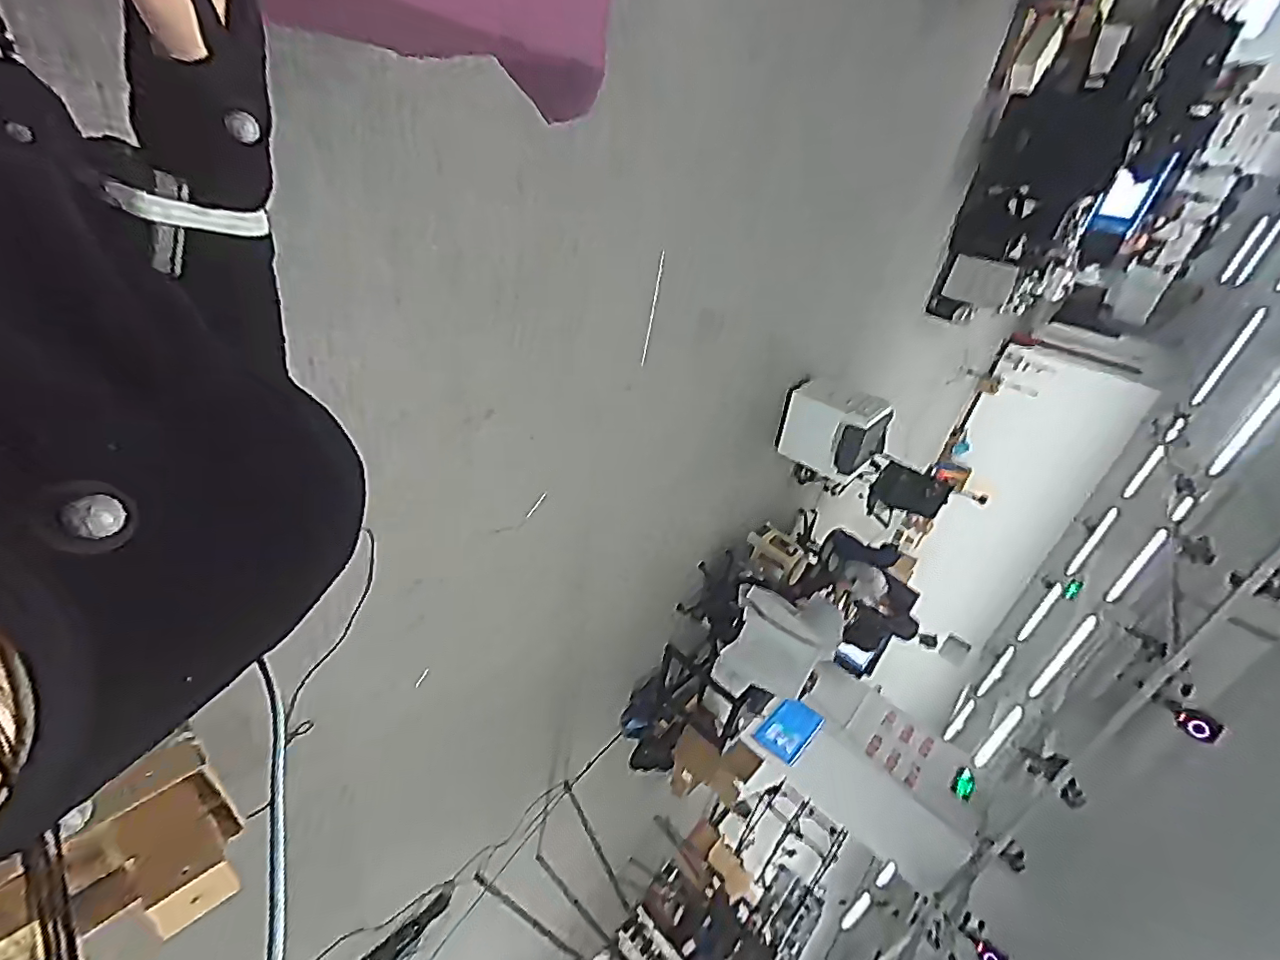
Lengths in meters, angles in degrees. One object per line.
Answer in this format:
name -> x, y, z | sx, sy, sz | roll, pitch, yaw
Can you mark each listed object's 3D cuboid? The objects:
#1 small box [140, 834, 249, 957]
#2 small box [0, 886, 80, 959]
small box -> -1.225, 1.134, 1.490 | 0.179, 0.176, 0.168 | -24, 131, -42
small box -> -1.569, 1.181, 1.355 | 0.179, 0.176, 0.168 | -25, 133, -44
